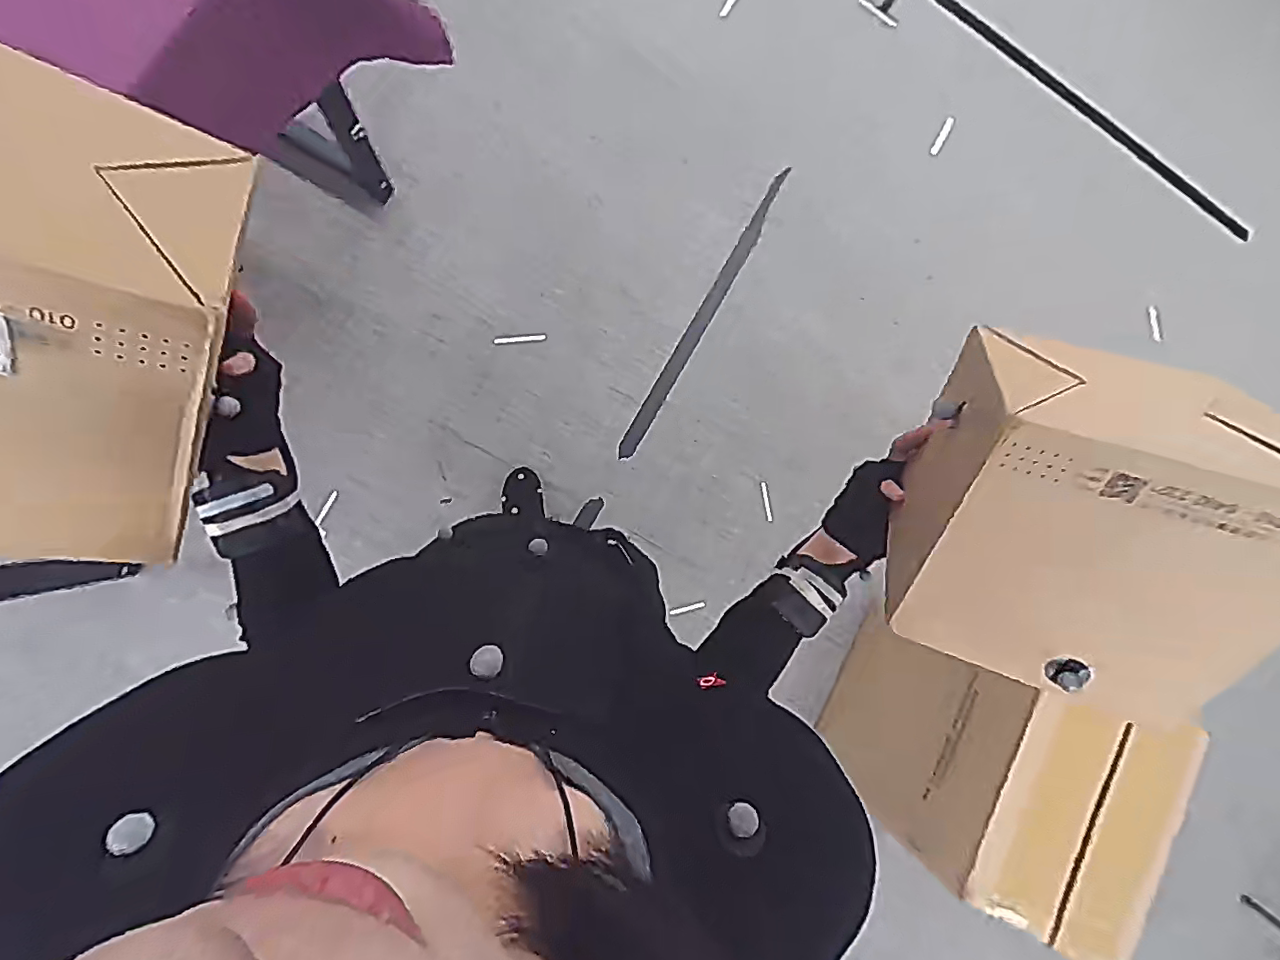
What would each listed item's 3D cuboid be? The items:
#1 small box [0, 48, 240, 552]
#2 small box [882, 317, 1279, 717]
[{"bbox_3d":[-0.304,-0.089,0.252,0.168,0.179,0.176,10,131,-37],"label":"small box"},{"bbox_3d":[0.276,0.006,0.352,0.168,0.179,0.176,19,127,15],"label":"small box"}]
